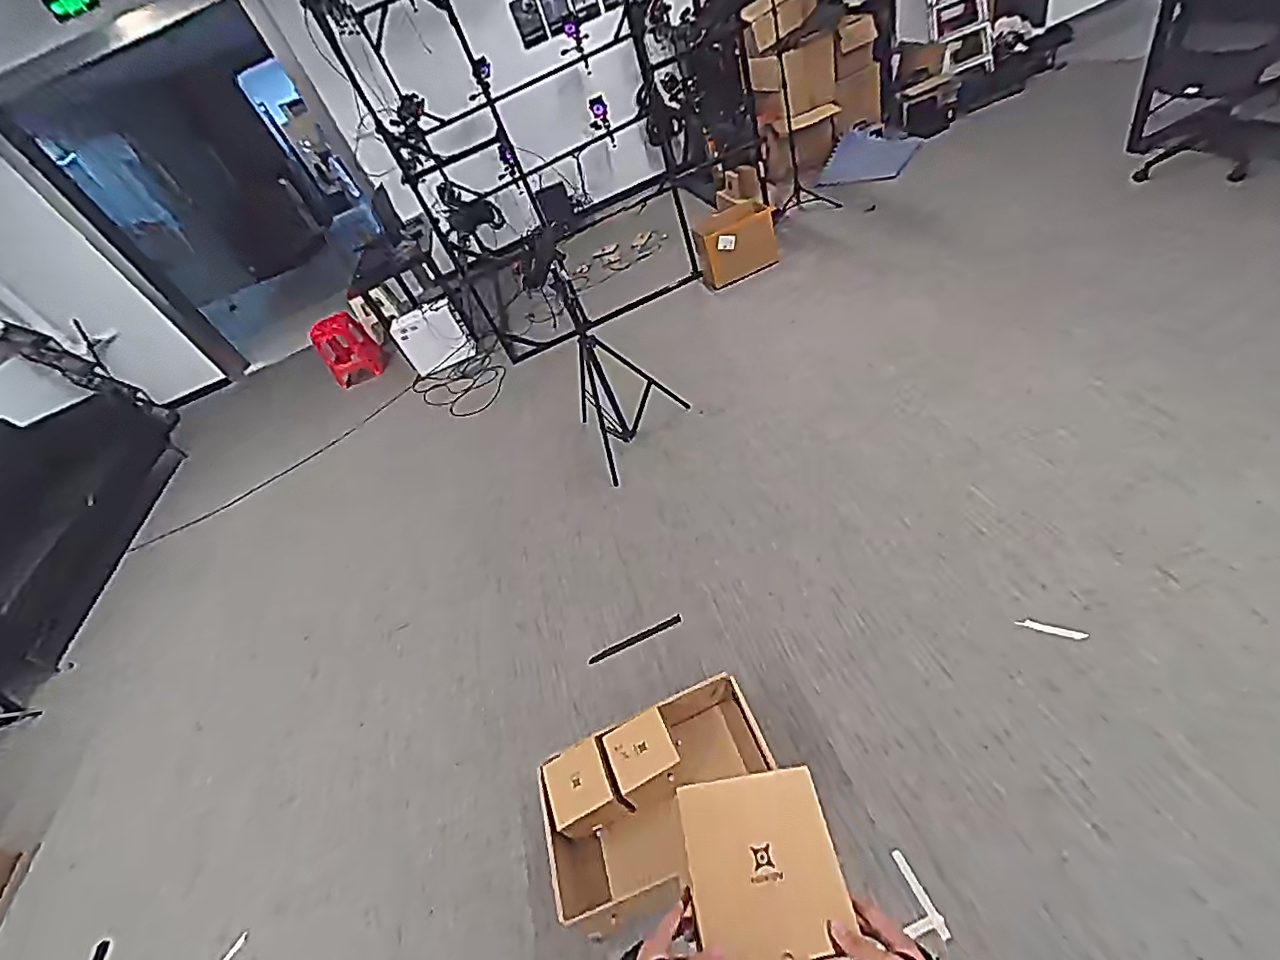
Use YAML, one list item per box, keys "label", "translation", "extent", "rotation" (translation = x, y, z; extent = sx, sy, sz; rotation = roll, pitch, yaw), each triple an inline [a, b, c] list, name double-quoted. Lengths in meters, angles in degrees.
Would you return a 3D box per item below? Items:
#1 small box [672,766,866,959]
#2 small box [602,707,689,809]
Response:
- label: "small box"
  translation: [0.134, 0.470, 0.645]
  extent: [0.168, 0.176, 0.179]
  rotation: [-7, 48, -6]
- label: "small box"
  translation: [0.023, 0.771, 1.494]
  extent: [0.179, 0.176, 0.168]
  rotation: [-28, 42, -5]
